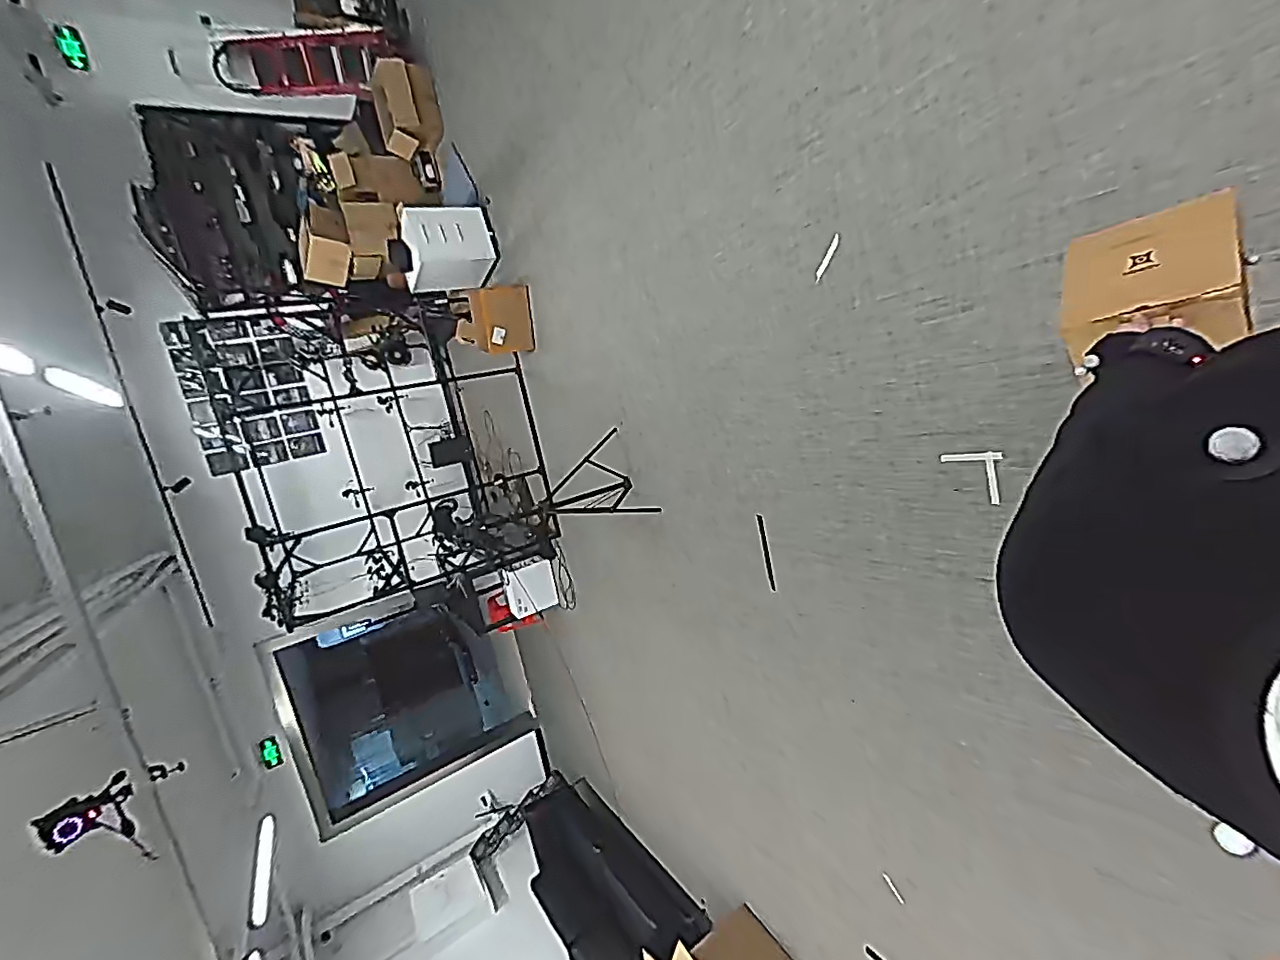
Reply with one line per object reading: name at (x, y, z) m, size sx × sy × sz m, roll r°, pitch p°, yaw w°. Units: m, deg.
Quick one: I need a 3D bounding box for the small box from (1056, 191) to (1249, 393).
small box at (0.693, -0.236, 0.733) m, size 0.176 × 0.179 × 0.168 m, roll 39°, pitch 152°, yaw -31°
